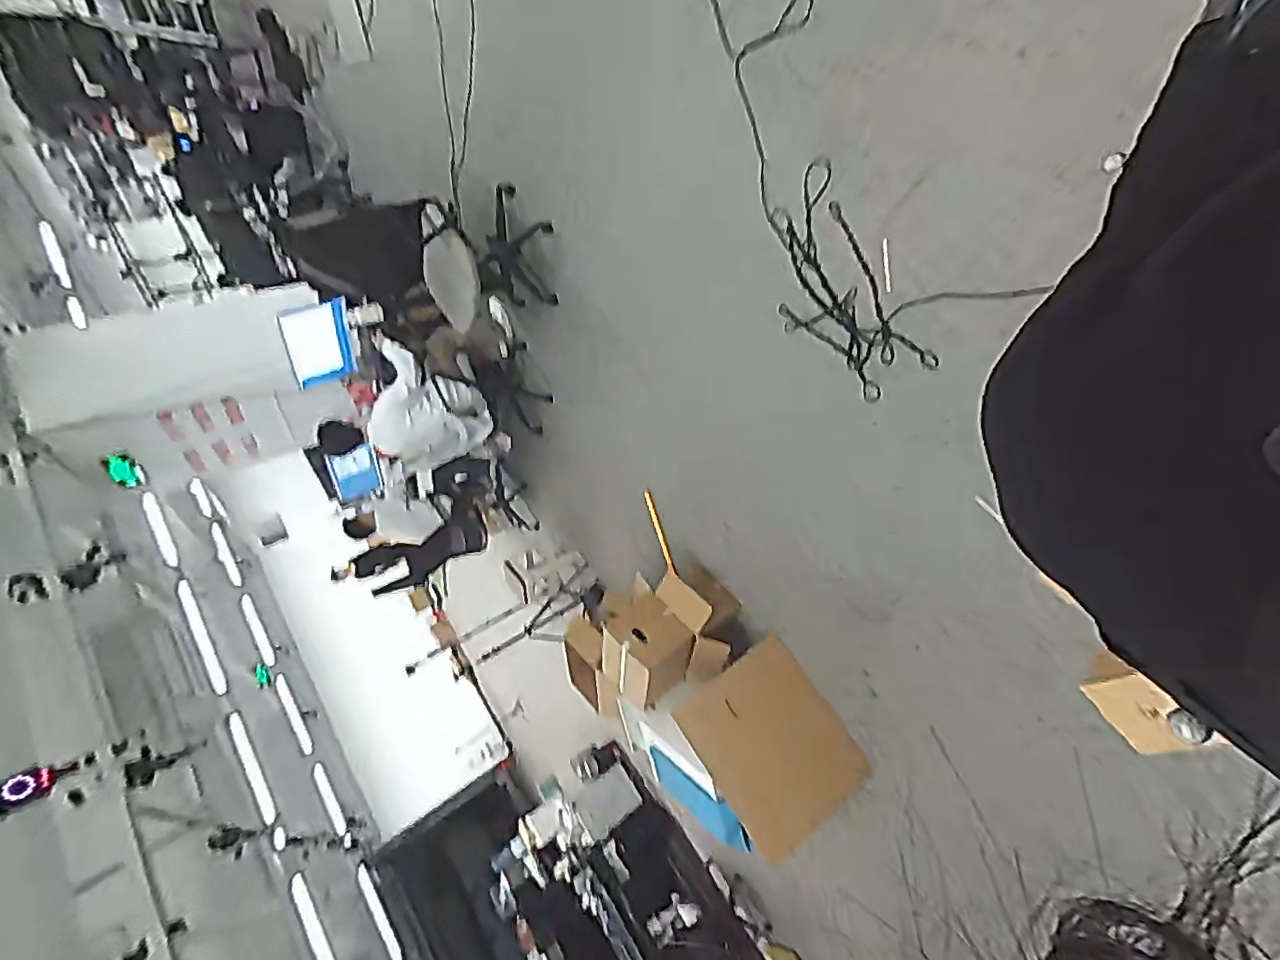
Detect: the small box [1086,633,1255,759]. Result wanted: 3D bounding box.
[{"bbox_3d":[1.103,0.448,1.126,0.168,0.176,0.179,52,148,18],"label":"small box"}]
